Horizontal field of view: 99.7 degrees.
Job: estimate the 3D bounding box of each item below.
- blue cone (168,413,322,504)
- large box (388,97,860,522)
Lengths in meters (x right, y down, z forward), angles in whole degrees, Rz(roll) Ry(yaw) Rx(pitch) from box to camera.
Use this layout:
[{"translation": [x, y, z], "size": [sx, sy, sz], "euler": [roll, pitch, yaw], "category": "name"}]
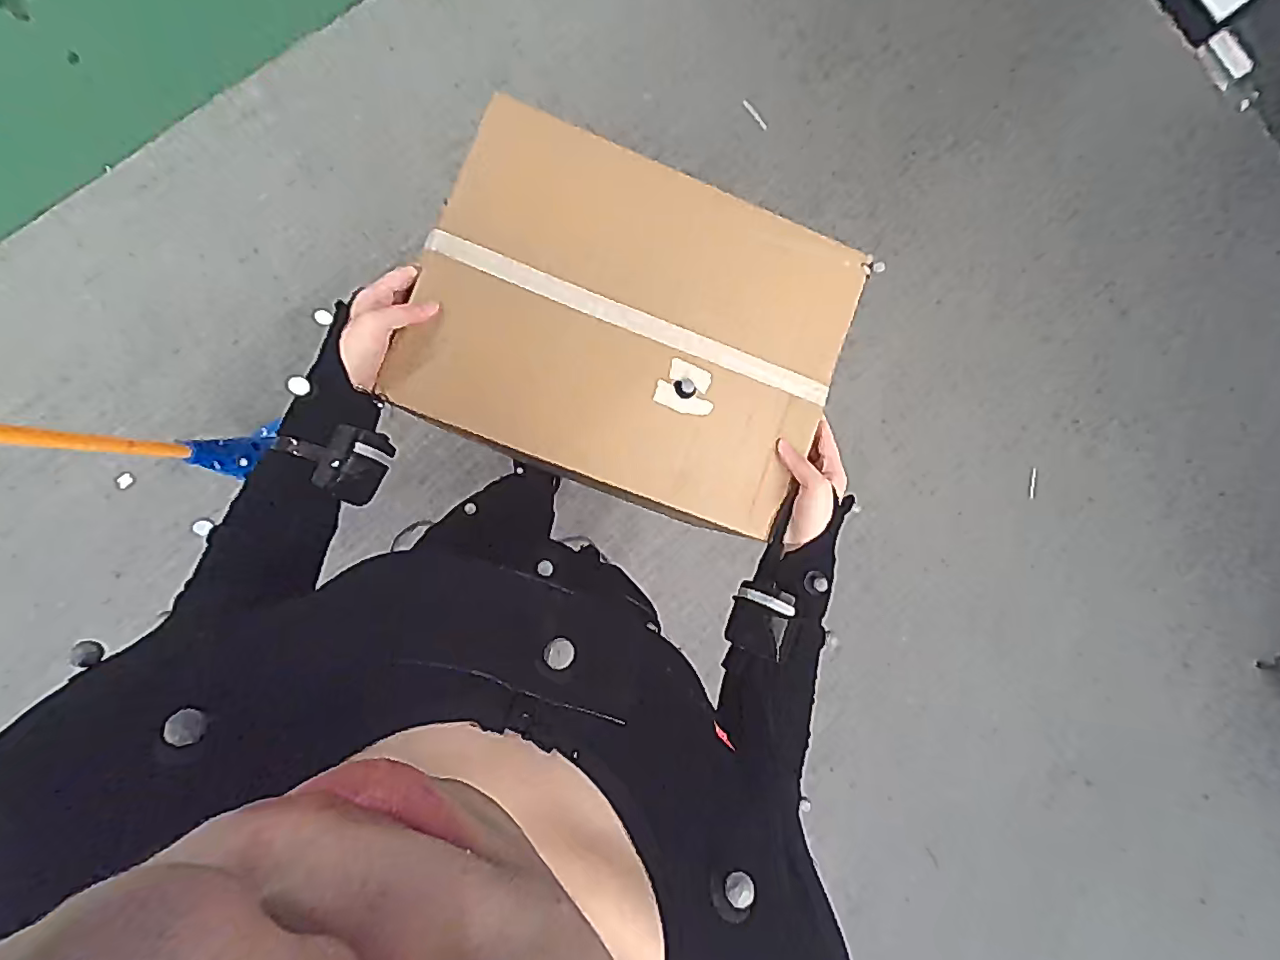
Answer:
[{"translation": [-0.909, -0.061, 1.218], "size": [0.193, 0.380, 0.192], "euler": [-32, 92, -9], "category": "blue cone"}, {"translation": [-0.023, -0.159, 0.678], "size": [0.408, 0.320, 0.320], "euler": [20, 86, -7], "category": "large box"}]
